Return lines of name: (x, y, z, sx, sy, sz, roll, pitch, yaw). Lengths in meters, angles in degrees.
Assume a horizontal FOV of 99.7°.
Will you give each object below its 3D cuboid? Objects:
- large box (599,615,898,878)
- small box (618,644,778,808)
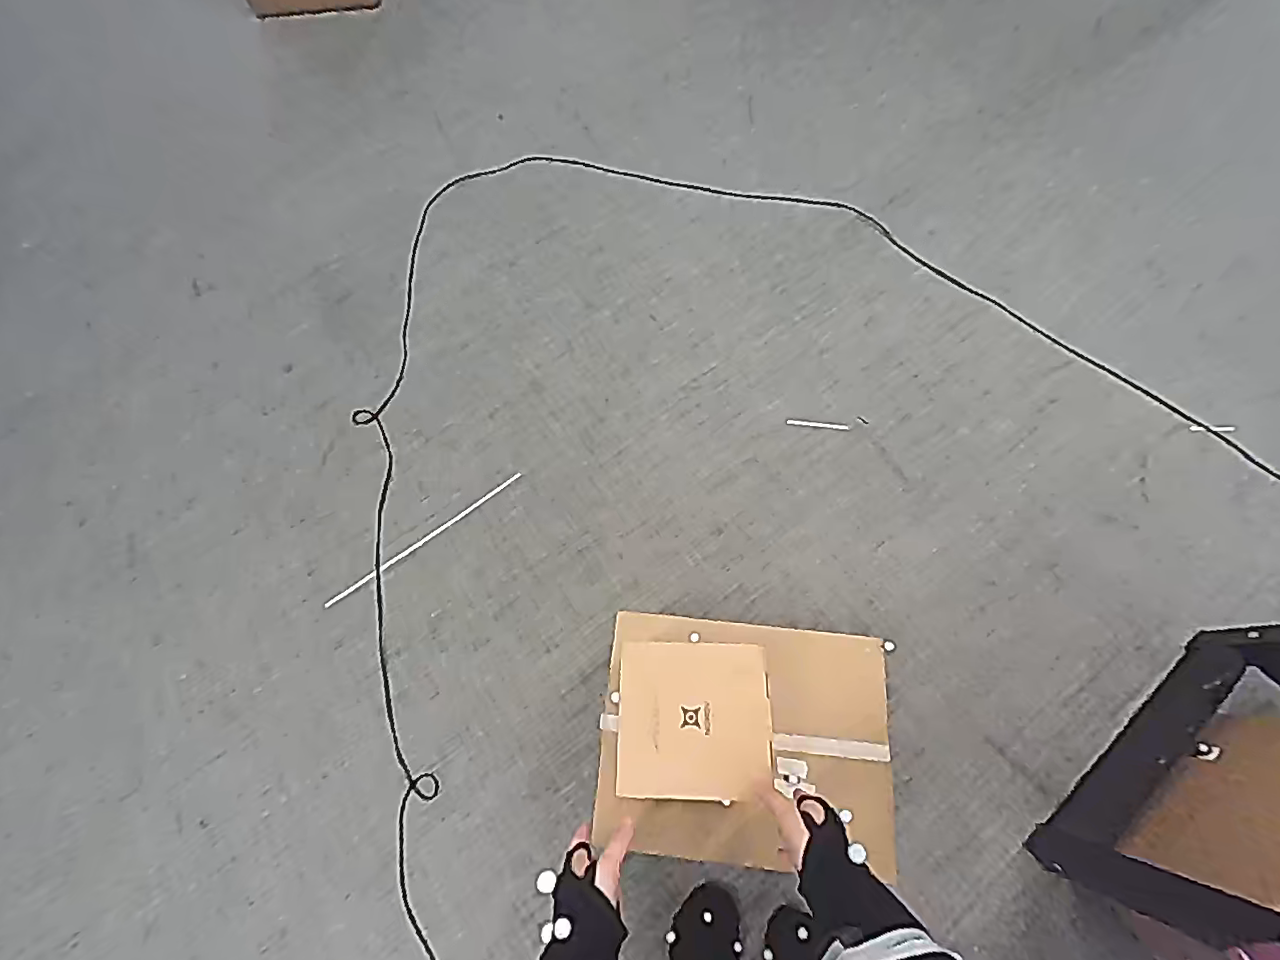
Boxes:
large box: (0.154, 0.415, 0.904, 0.408, 0.320, 0.320, 5, 71, 3)
small box: (0.067, 0.303, 0.685, 0.179, 0.176, 0.168, 1, 68, 2)
